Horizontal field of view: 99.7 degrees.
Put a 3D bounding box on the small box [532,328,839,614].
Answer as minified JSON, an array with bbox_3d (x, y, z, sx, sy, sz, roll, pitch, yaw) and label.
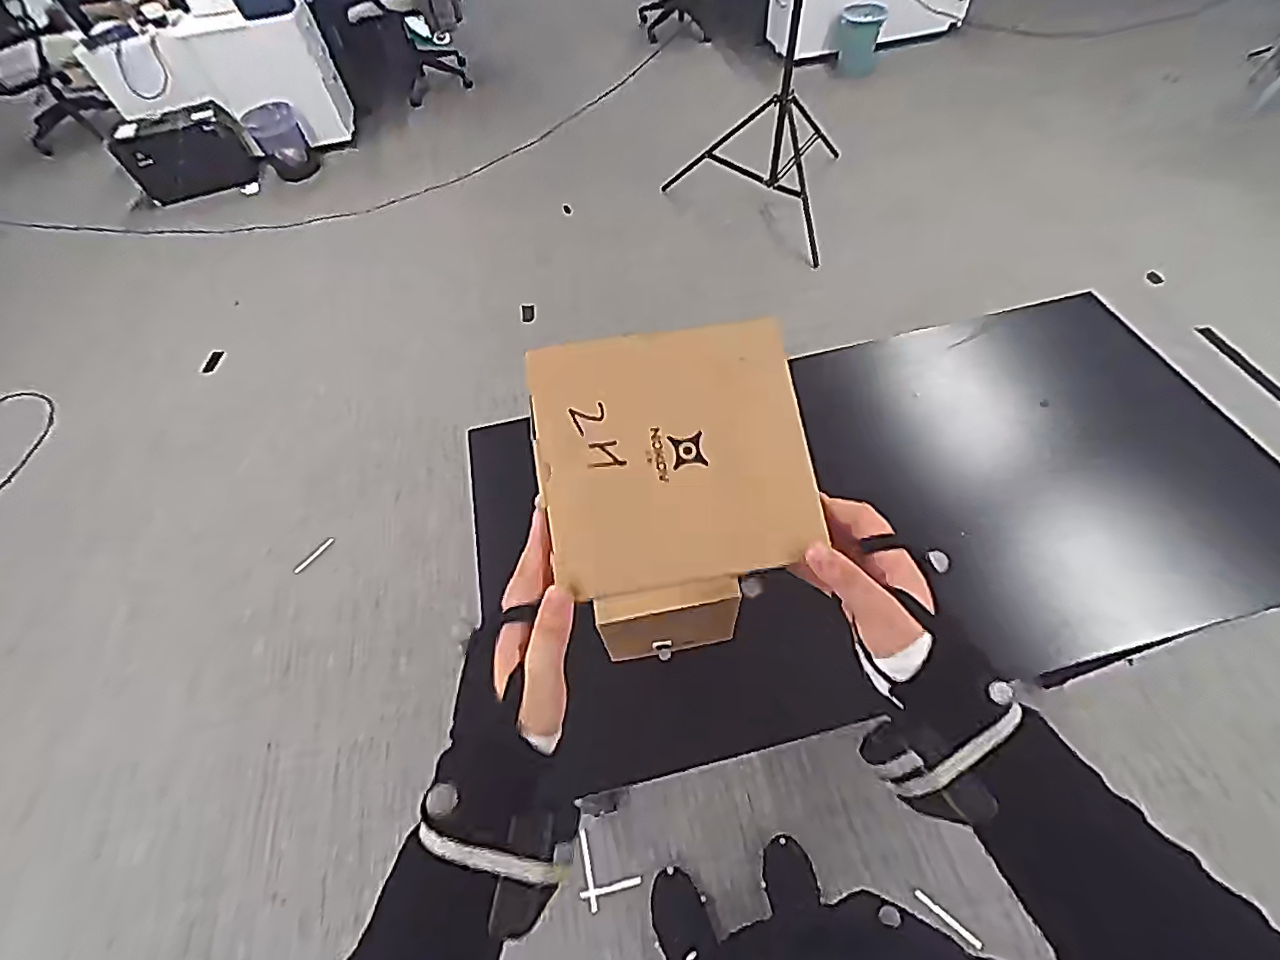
[{"bbox_3d":[0.022,0.003,0.417,0.179,0.176,0.168,-9,80,-4],"label":"small box"}]

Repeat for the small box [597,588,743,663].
[{"bbox_3d":[0.026,0.119,0.704,0.168,0.176,0.179,-12,58,-2],"label":"small box"}]
